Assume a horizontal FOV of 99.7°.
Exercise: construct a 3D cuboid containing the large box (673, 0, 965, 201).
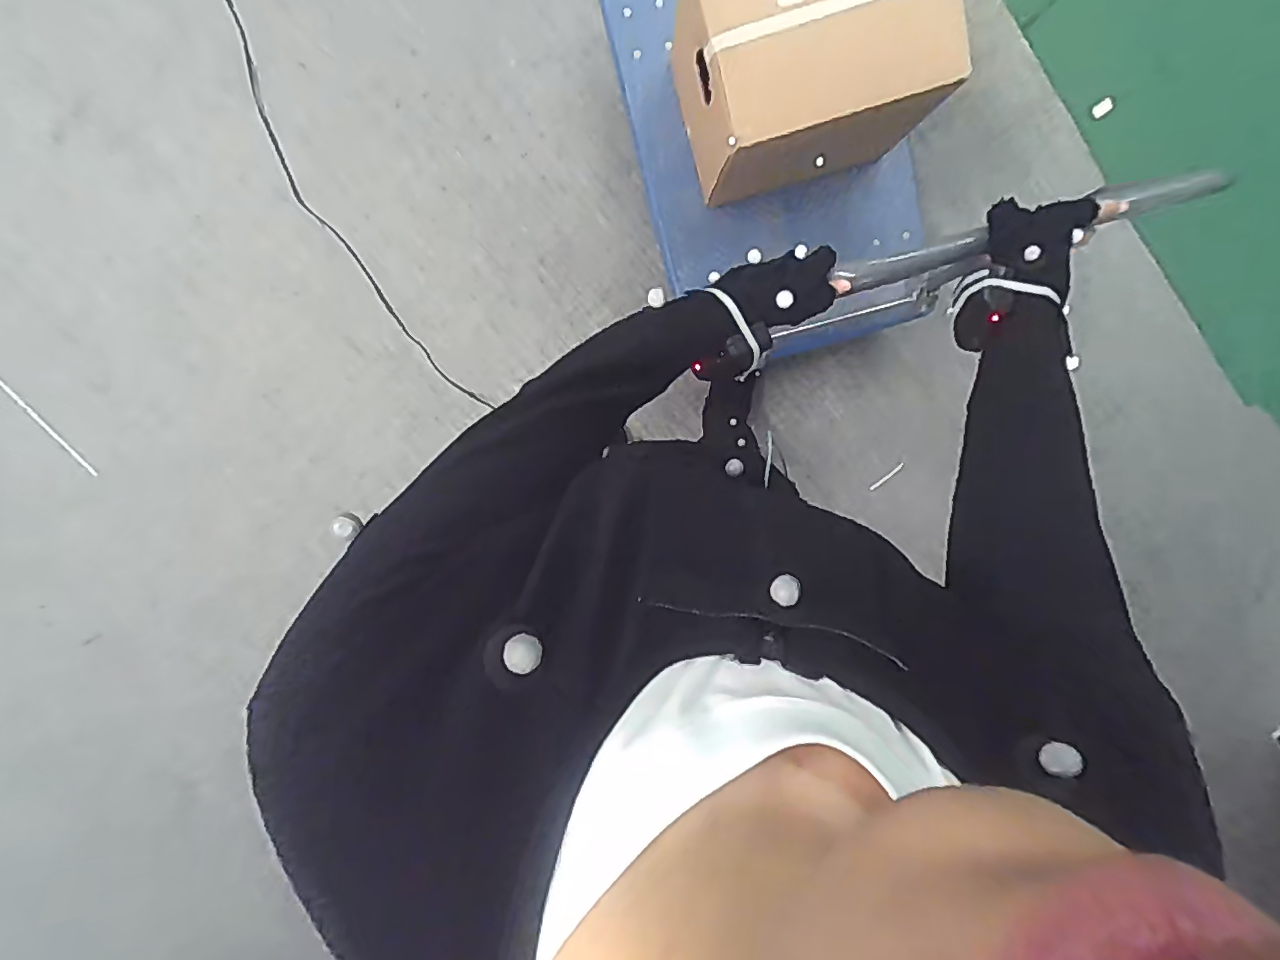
[{"bbox_3d":[0.303,-0.784,1.016,0.408,0.320,0.320,-17,100,2],"label":"large box"}]
